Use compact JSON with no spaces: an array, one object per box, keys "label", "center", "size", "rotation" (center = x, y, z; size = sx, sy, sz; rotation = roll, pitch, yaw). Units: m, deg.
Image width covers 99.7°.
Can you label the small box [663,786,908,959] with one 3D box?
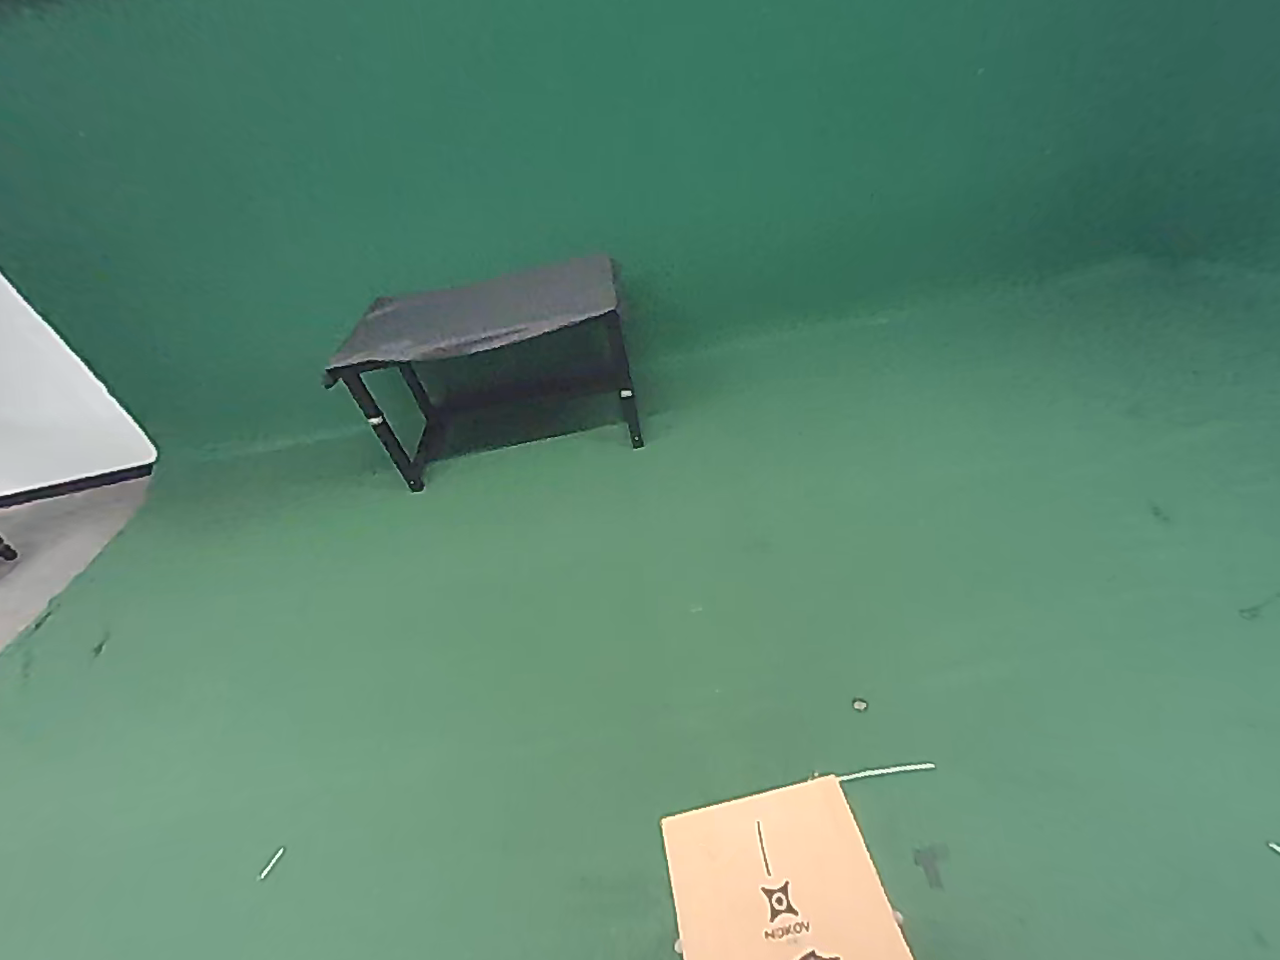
[{"label":"small box","center":[0.127,0.402,0.465],"size":[0.168,0.176,0.179],"rotation":[-15,40,1]}]
